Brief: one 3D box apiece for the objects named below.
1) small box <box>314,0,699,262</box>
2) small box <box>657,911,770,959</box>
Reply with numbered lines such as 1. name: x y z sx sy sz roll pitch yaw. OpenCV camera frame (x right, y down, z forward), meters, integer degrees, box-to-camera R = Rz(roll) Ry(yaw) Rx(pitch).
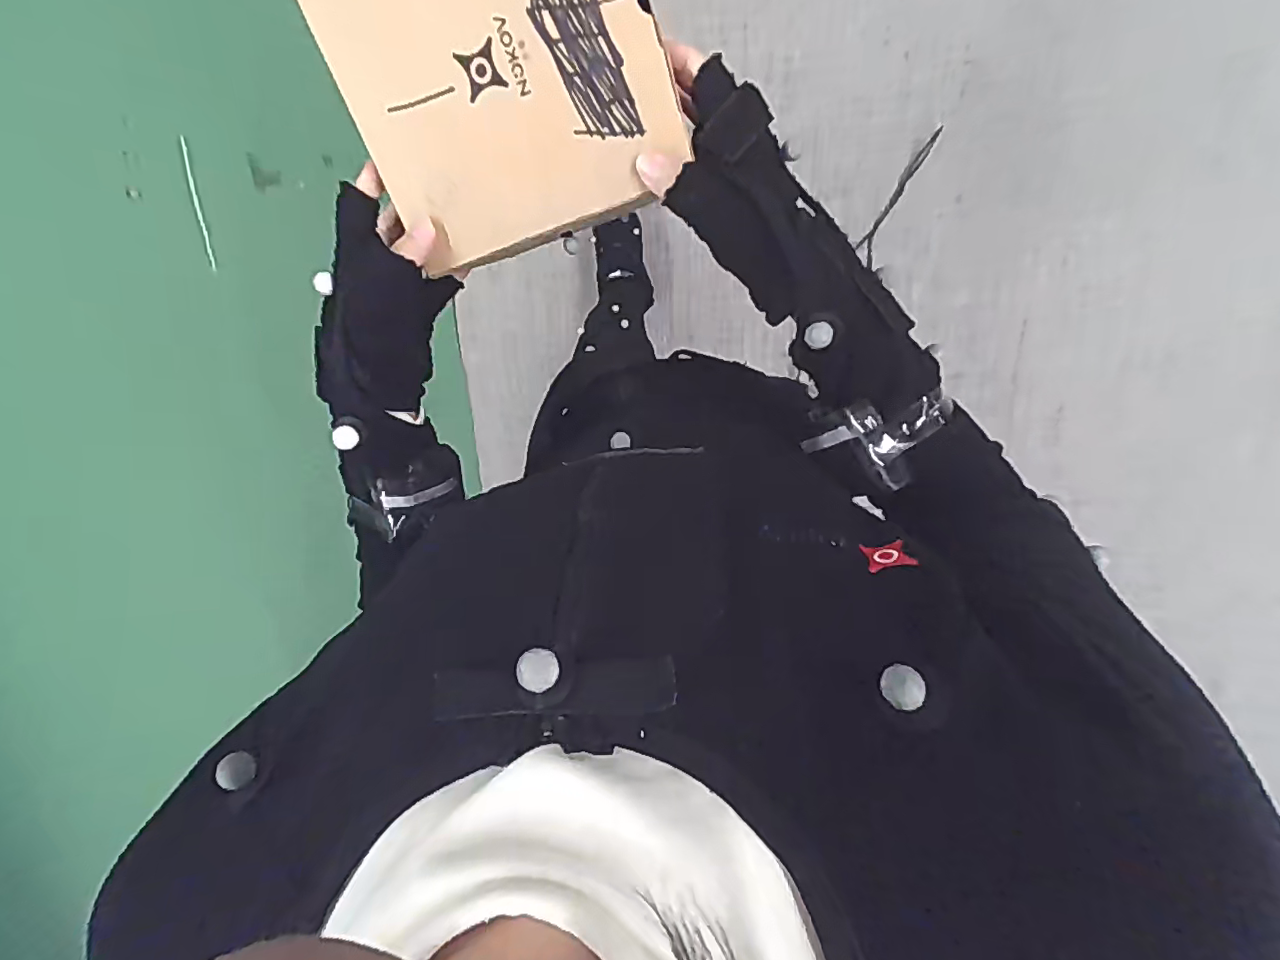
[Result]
1. small box: -0.066 -0.261 0.358 0.179 0.176 0.168 -14 114 12
2. small box: 0.114 0.810 0.834 0.179 0.176 0.168 -3 108 8
